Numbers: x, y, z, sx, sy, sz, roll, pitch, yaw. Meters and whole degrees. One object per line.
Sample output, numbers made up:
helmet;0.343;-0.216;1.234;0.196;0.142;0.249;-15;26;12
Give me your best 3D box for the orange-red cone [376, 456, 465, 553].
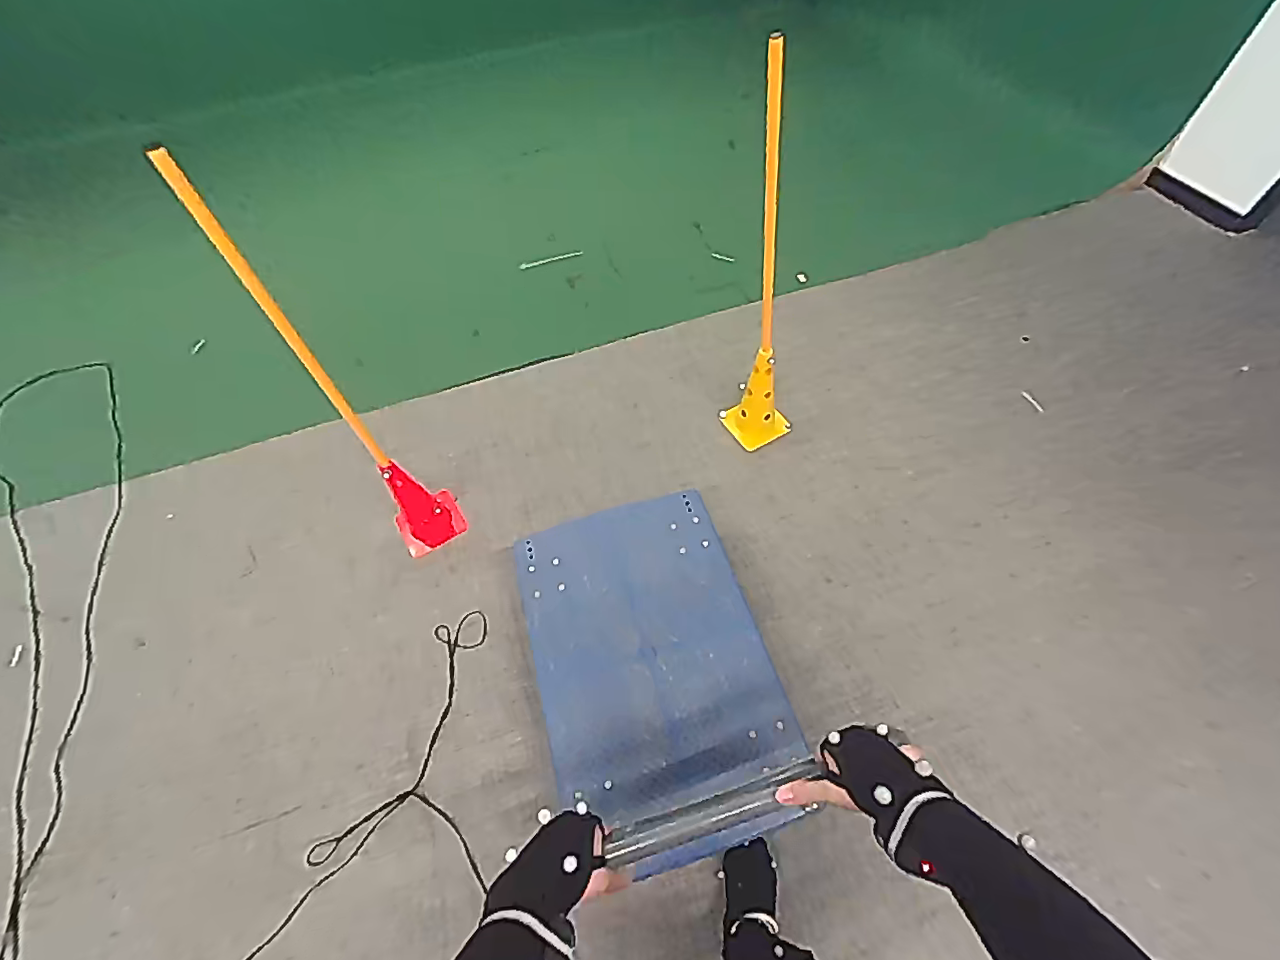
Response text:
orange-red cone;-0.717;0.043;1.672;0.199;0.360;0.198;-31;60;-14
